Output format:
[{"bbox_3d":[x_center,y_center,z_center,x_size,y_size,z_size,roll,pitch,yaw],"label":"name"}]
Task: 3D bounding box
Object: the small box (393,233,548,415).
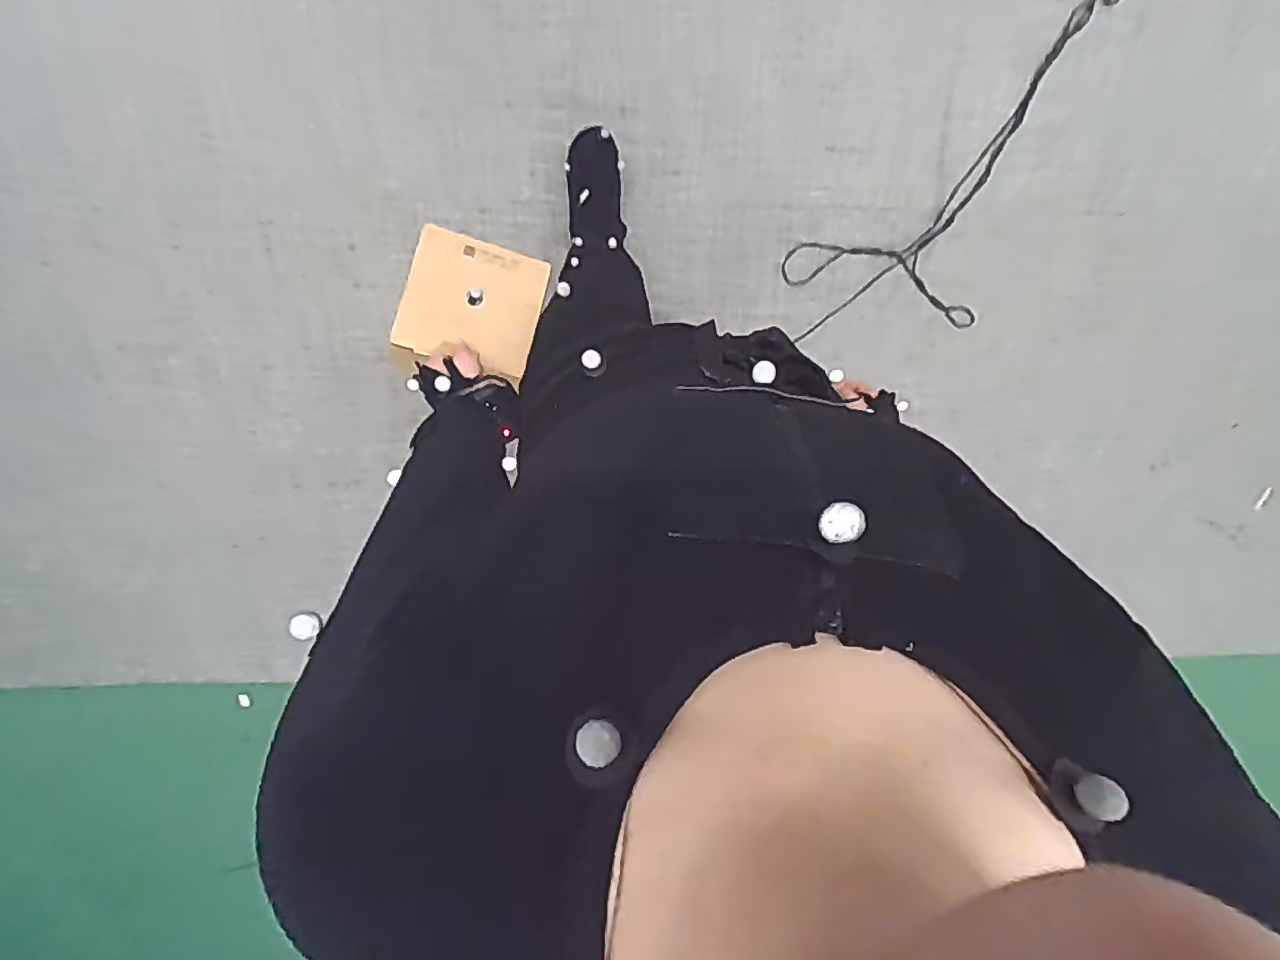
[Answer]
[{"bbox_3d":[-0.233,-0.212,0.764,0.168,0.179,0.176,14,77,-14],"label":"small box"}]
